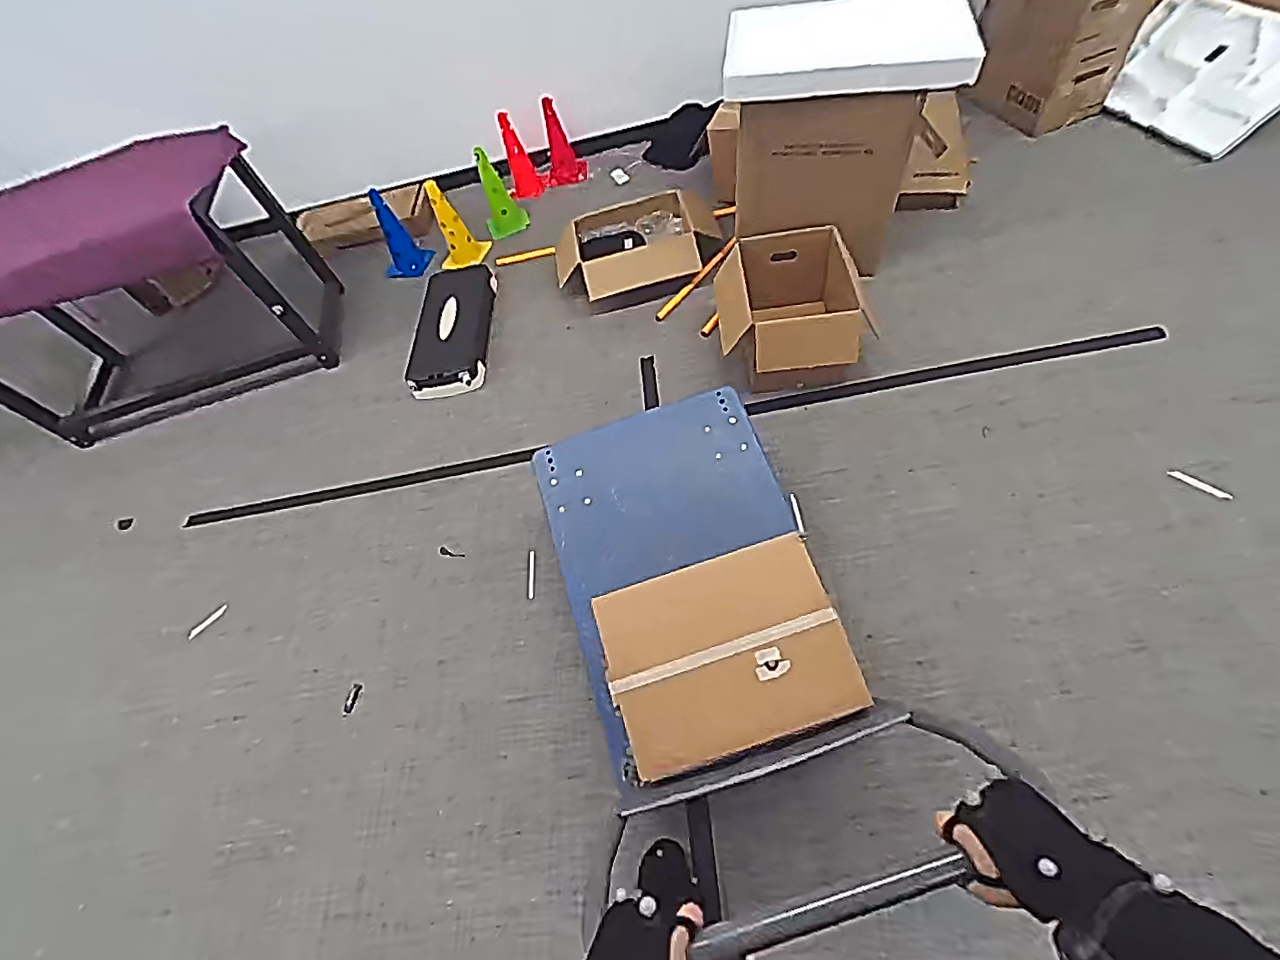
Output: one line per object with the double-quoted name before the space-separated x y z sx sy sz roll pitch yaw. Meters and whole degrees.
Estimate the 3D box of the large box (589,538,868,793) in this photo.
"large box" 0.152 0.356 1.063 0.408 0.320 0.320 -19 70 -2
